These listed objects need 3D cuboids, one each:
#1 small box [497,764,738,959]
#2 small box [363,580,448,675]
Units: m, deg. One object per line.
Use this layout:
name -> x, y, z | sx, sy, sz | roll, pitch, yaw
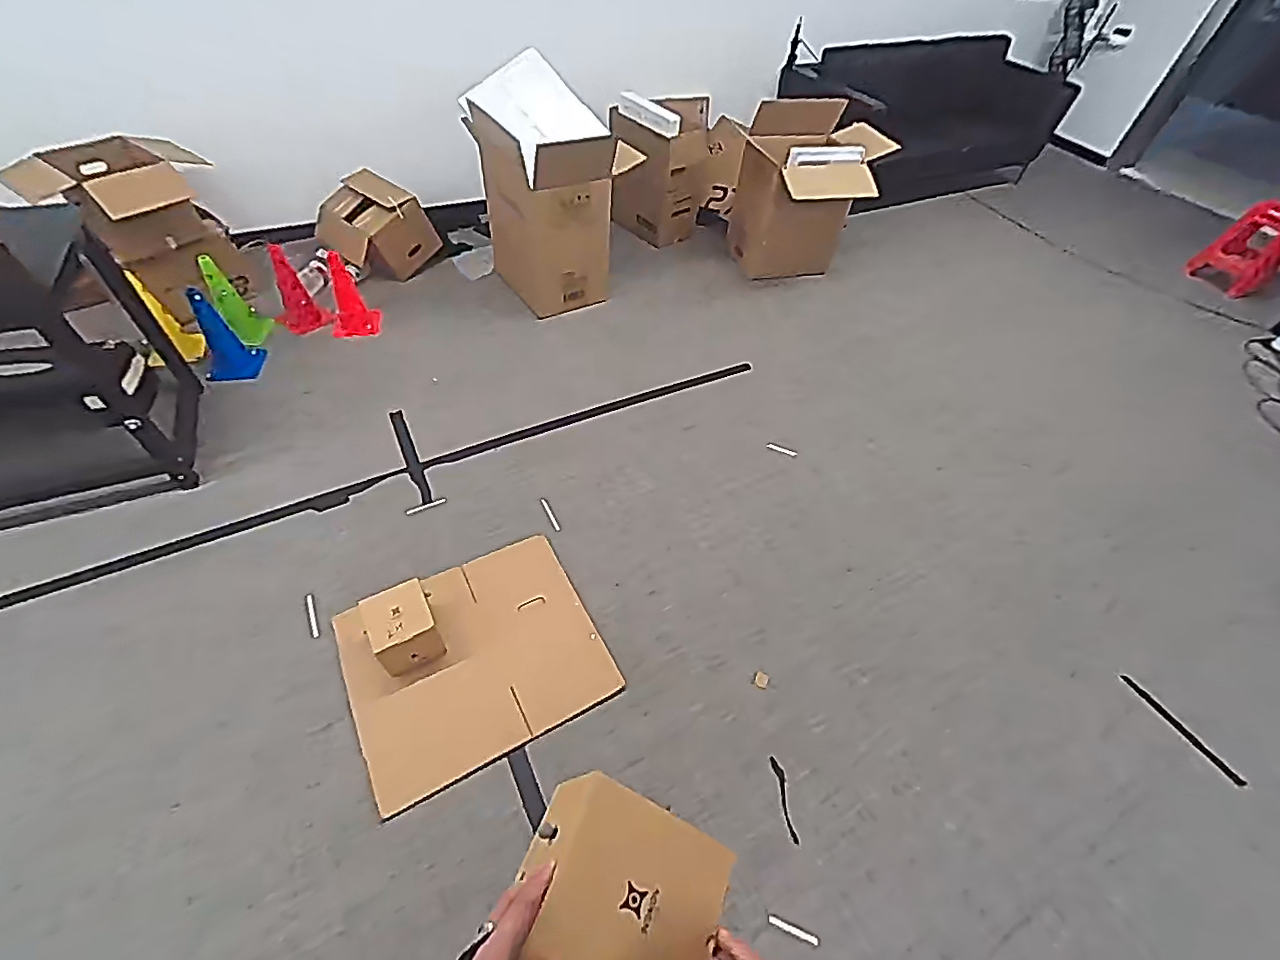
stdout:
small box -> -0.030, 0.434, 0.573 | 0.179, 0.176, 0.168 | 32, 51, -3
small box -> -0.671, 0.426, 1.557 | 0.168, 0.176, 0.179 | -22, 56, -22
